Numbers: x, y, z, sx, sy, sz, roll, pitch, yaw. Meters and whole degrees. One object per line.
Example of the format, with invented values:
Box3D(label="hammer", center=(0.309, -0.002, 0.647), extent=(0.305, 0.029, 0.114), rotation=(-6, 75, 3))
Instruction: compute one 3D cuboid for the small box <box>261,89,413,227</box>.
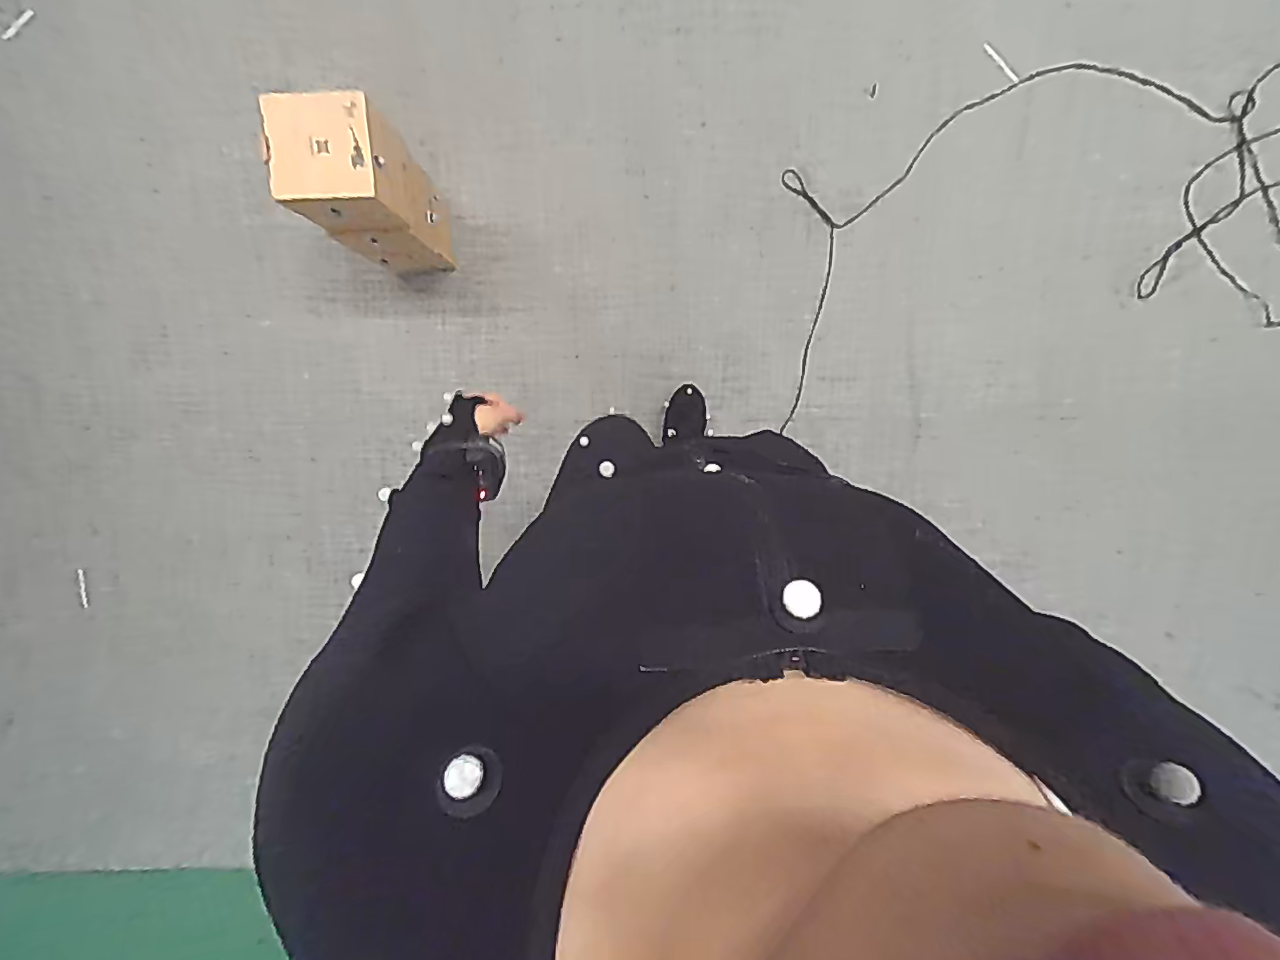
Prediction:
Box3D(label="small box", center=(-0.536, -0.571, 0.979), extent=(0.179, 0.176, 0.168), rotation=(-2, 98, 0))

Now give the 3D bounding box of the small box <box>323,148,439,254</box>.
Box3D(label="small box", center=(-0.545, -0.585, 1.142), extent=(0.179, 0.176, 0.168), rotation=(-2, 98, -2))
